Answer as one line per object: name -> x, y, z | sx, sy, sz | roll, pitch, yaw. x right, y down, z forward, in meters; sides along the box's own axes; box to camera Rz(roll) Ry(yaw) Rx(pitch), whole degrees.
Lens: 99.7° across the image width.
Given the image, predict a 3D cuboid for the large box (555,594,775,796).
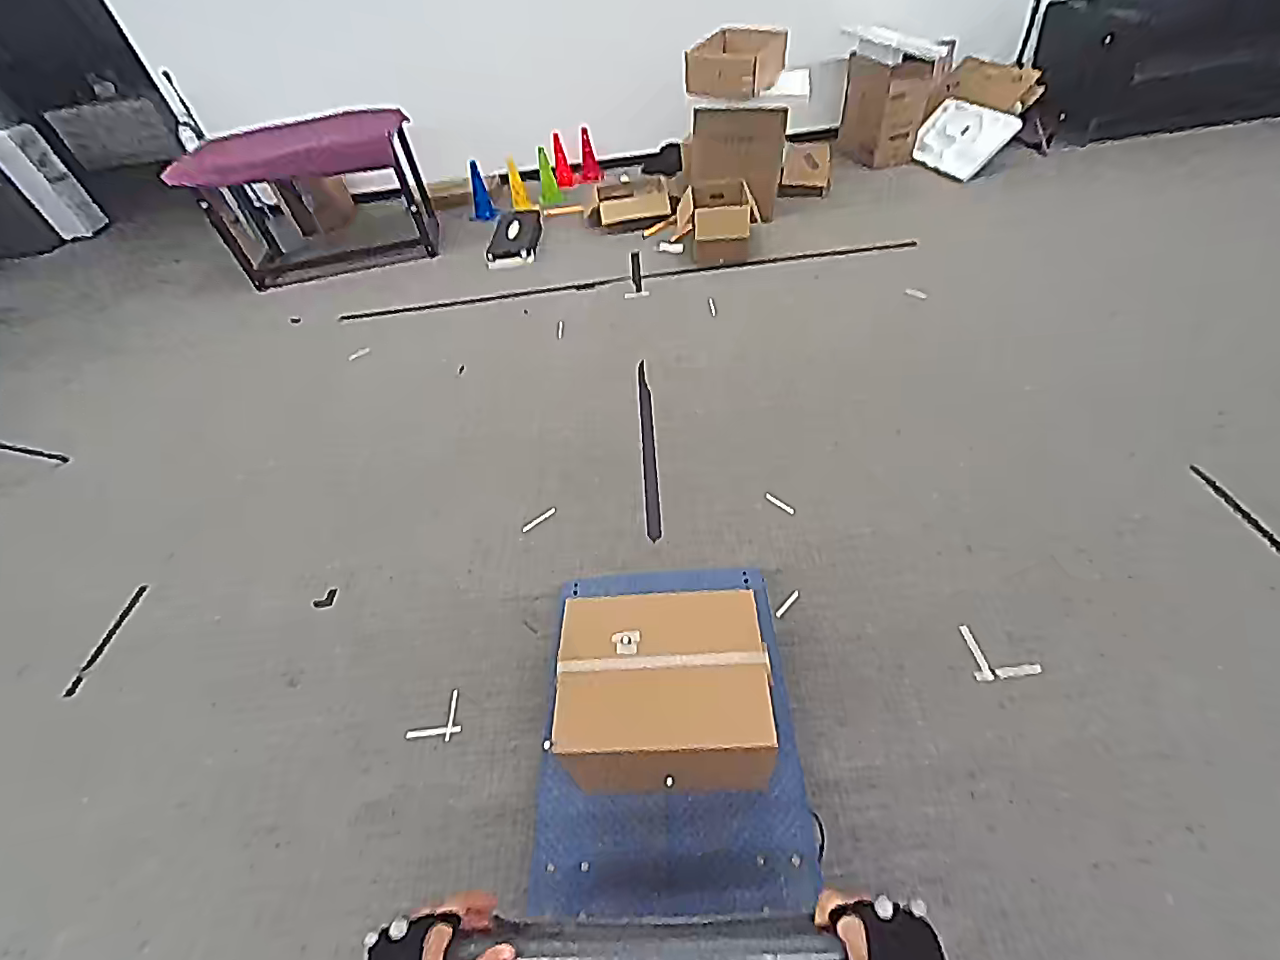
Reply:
large box -> 0.059, 0.473, 1.174 | 0.408, 0.320, 0.320 | -5, 46, 5
